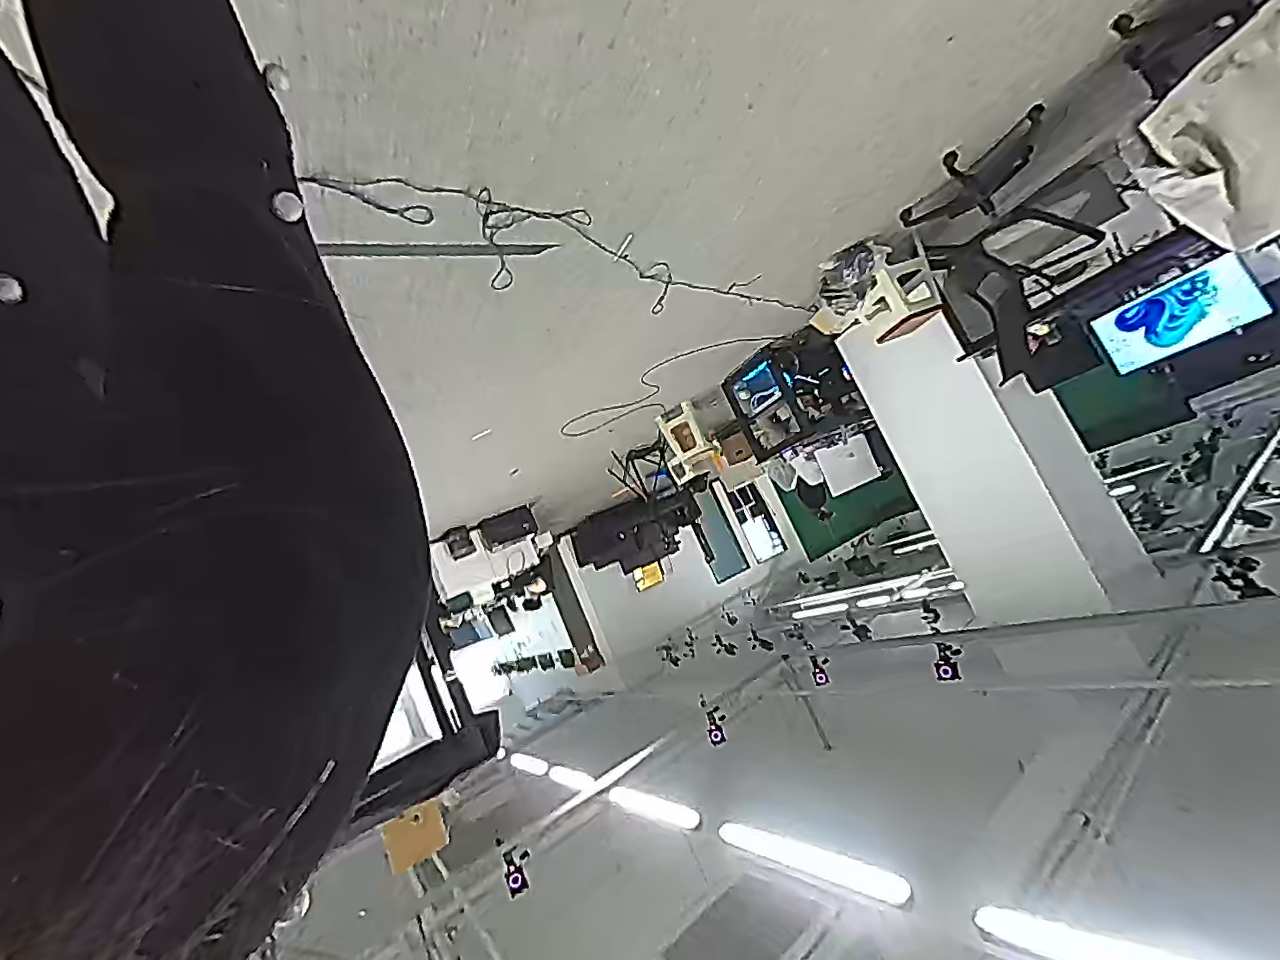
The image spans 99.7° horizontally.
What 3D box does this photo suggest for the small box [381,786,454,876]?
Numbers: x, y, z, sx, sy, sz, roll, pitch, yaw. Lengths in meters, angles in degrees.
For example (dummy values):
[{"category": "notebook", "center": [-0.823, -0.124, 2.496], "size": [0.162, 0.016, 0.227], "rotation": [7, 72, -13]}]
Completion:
[{"category": "small box", "center": [-0.712, 1.104, 1.721], "size": [0.168, 0.176, 0.179], "rotation": [-17, 171, -32]}]
